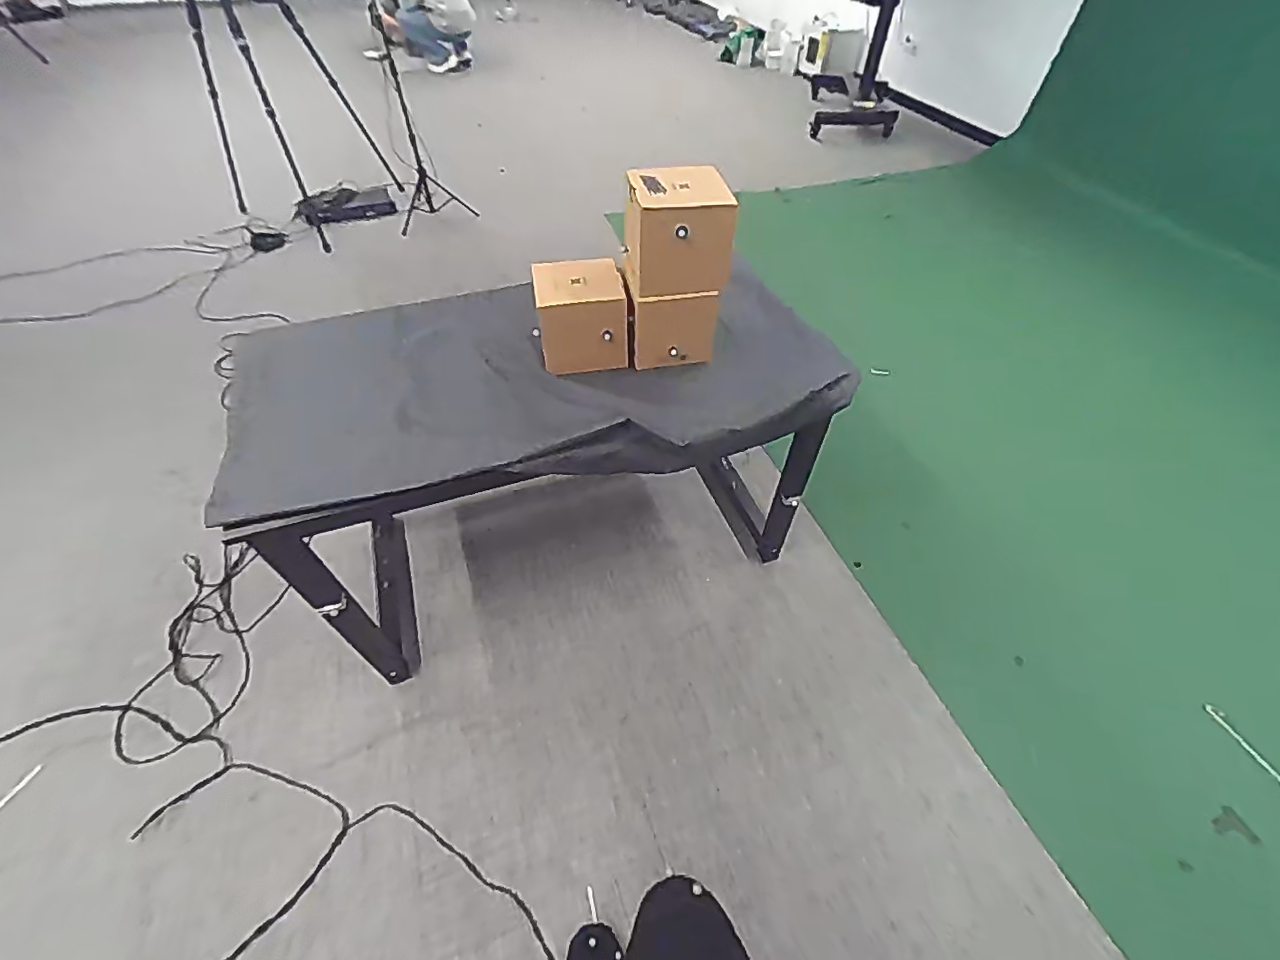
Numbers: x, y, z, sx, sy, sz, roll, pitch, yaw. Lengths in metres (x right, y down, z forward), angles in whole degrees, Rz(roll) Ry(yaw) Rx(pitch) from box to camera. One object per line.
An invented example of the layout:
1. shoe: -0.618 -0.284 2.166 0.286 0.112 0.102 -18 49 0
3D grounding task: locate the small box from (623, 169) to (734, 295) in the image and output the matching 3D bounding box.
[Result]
1. small box: 0.066 -0.472 1.040 0.179 0.176 0.168 -7 51 -7
